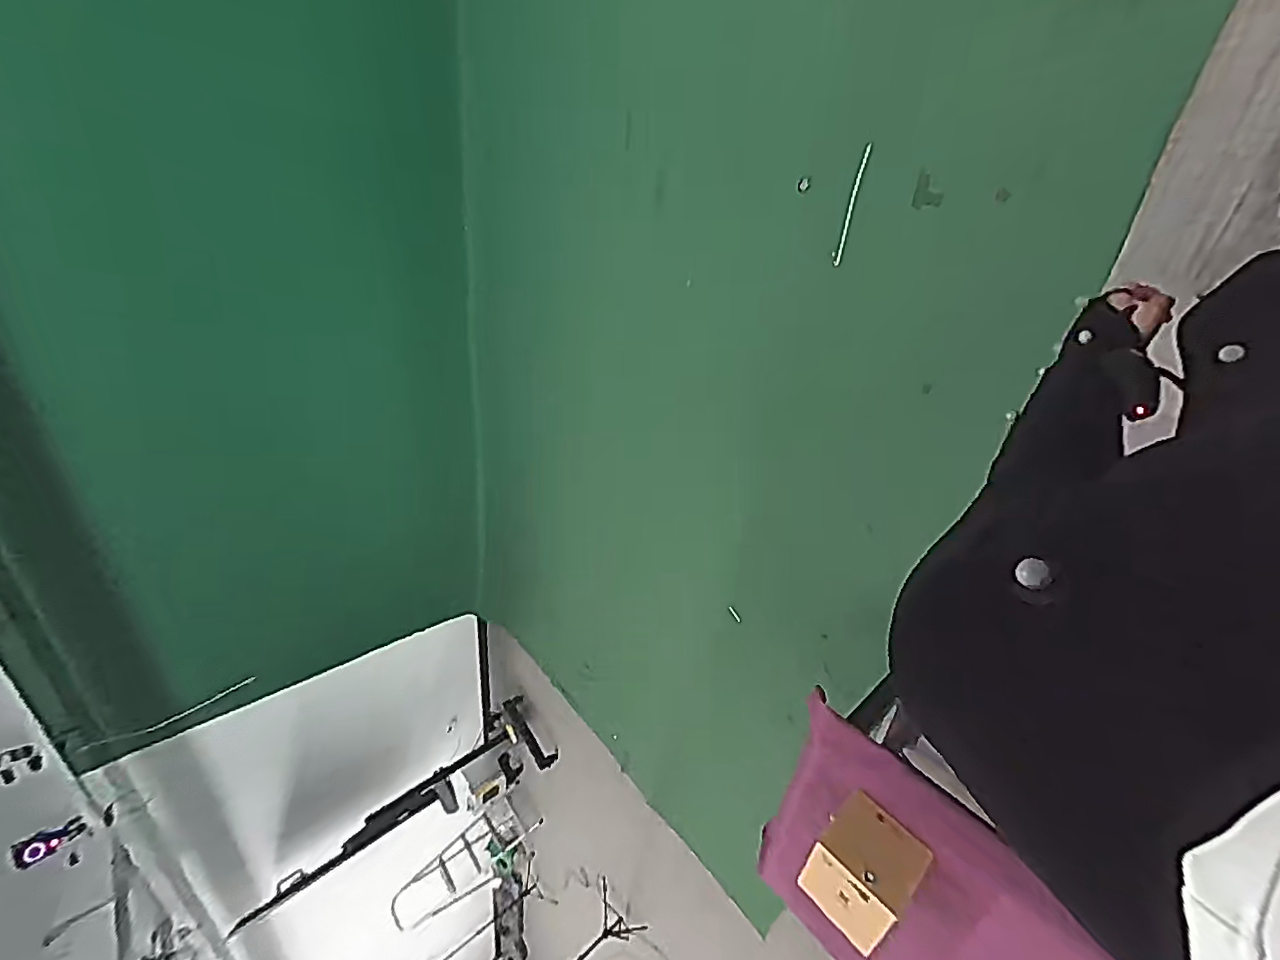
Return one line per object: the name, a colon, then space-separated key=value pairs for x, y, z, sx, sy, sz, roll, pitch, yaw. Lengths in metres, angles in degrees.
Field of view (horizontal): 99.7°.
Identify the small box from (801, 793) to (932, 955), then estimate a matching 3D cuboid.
small box: x=0.459 y=0.789 z=1.097 sx=0.168 sy=0.176 sz=0.179 roll=33 pitch=130 yaw=36
